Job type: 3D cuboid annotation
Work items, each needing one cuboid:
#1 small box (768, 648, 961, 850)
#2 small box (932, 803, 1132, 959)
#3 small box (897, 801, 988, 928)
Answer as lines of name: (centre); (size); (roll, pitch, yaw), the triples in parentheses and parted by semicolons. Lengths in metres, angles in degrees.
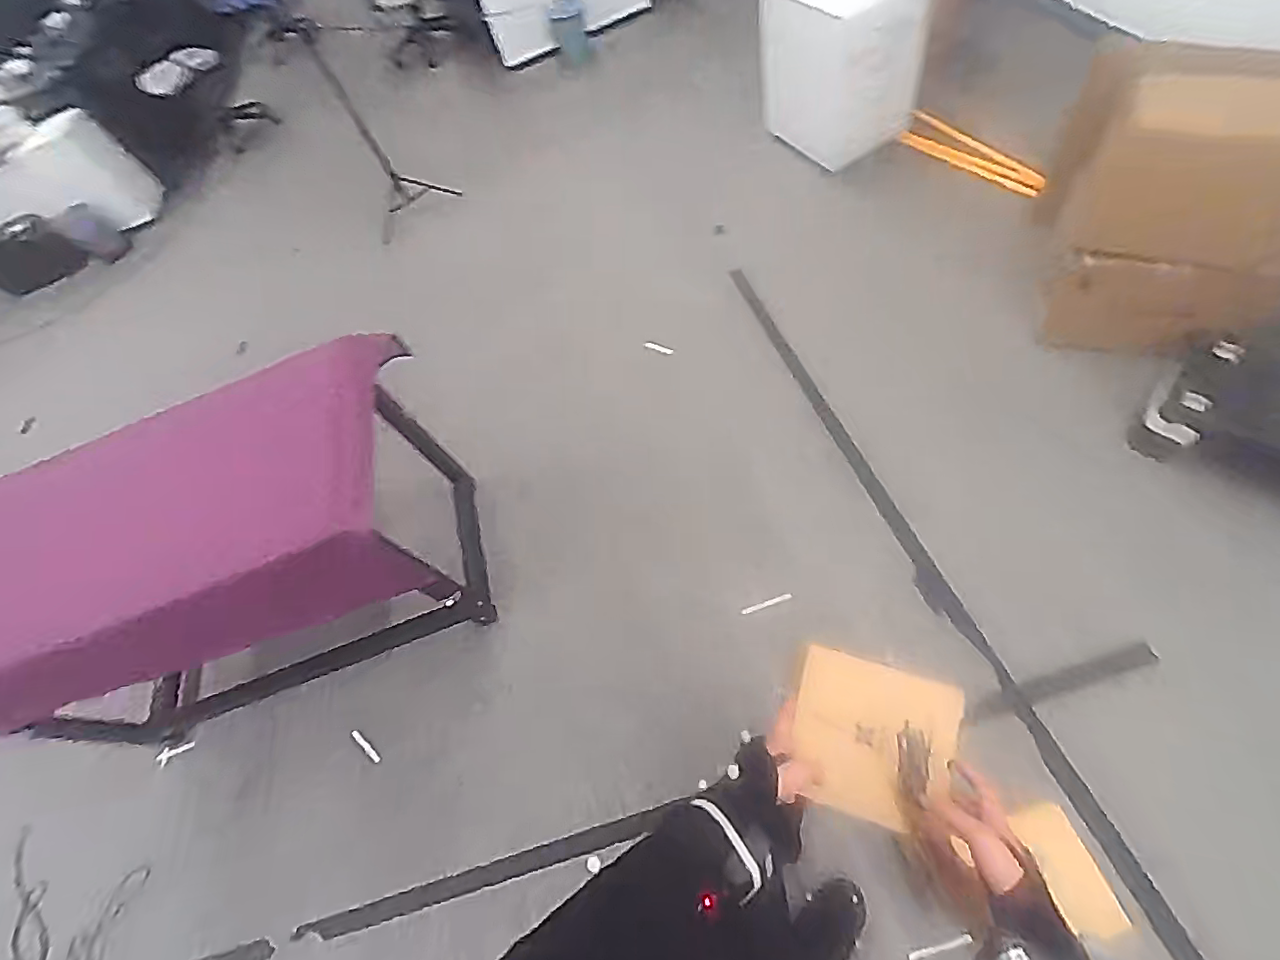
small box: (0.269, 0.318, 0.685); (0.179, 0.176, 0.168); (14, 78, 14)
small box: (0.597, 0.631, 0.859); (0.179, 0.176, 0.168); (-21, 59, 3)
small box: (0.666, 0.793, 1.135); (0.179, 0.176, 0.168); (-24, 58, 2)
